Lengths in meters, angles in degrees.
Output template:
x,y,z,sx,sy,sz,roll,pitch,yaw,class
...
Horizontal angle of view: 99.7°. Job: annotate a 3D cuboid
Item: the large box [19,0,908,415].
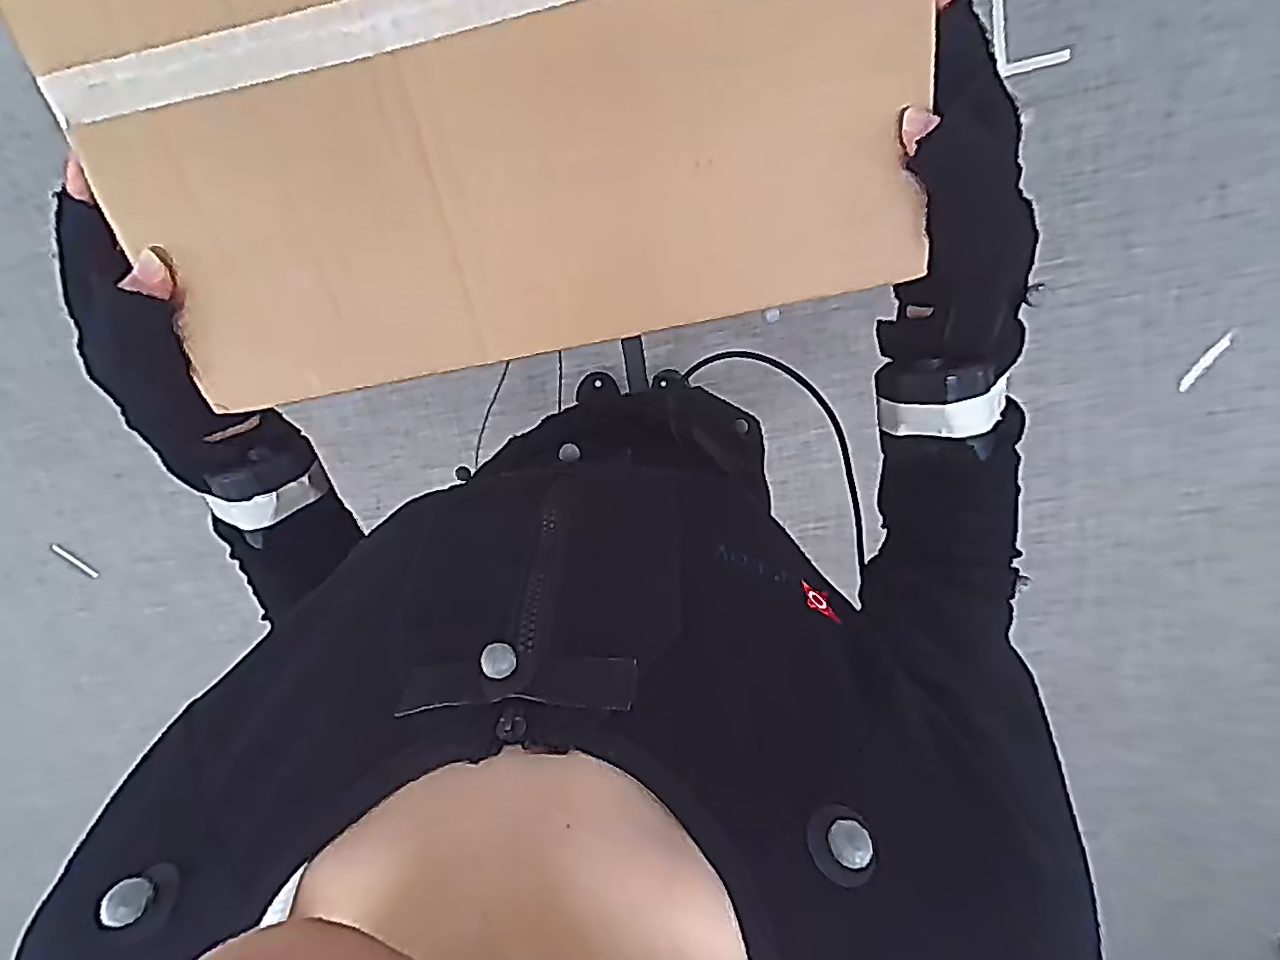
x,y,z,sx,sy,sz,roll,pitch,yaw,class
-0.076,-0.272,0.386,0.408,0.320,0.320,-10,113,5,large box
